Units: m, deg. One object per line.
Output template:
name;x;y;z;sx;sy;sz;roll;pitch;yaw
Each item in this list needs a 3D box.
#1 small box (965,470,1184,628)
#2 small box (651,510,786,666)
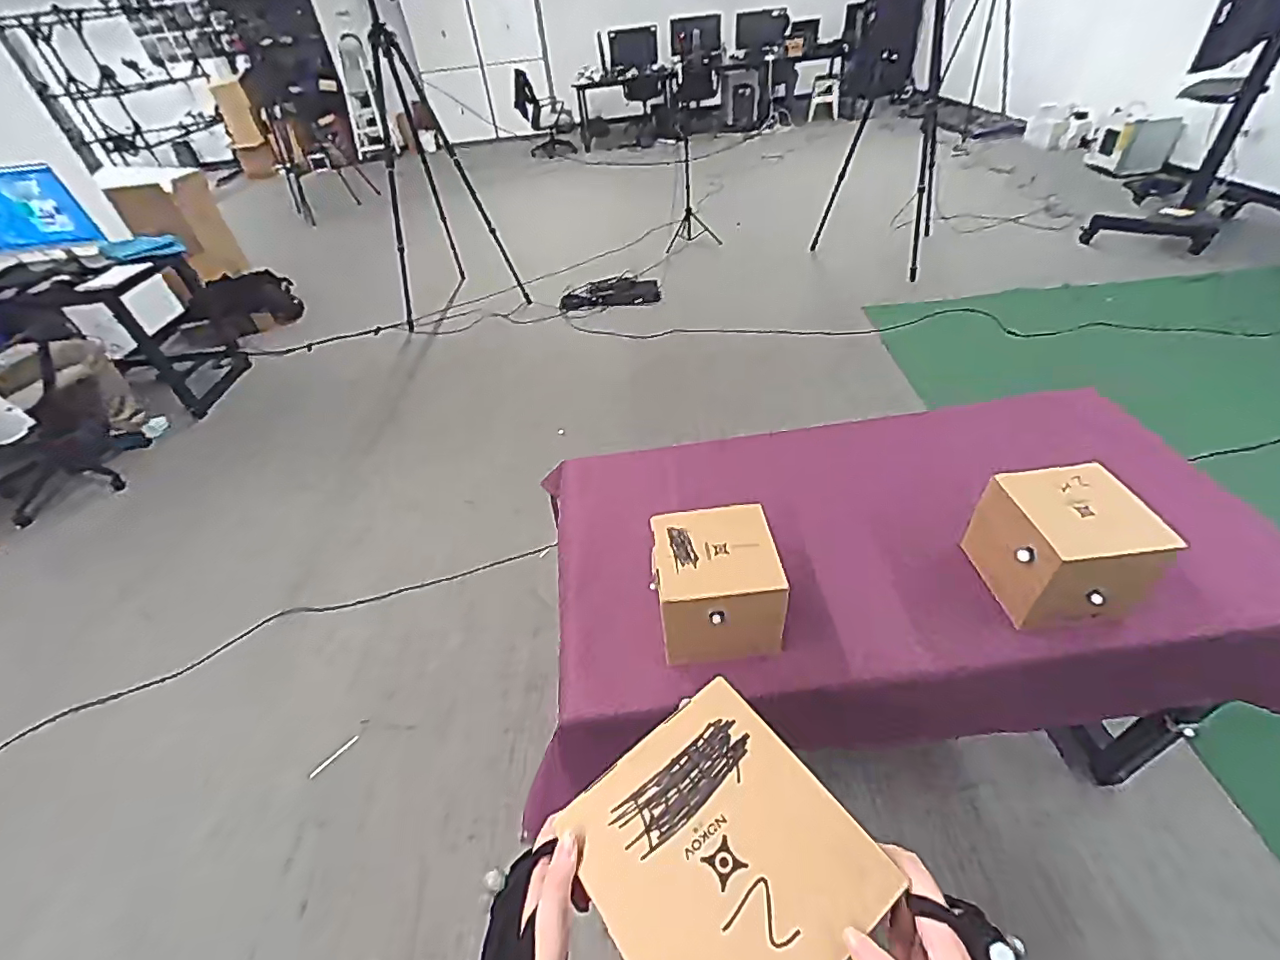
small box;0.636;0.110;0.823;0.168;0.176;0.179;-6;41;1
small box;0.116;0.170;0.836;0.179;0.176;0.168;-6;41;0
